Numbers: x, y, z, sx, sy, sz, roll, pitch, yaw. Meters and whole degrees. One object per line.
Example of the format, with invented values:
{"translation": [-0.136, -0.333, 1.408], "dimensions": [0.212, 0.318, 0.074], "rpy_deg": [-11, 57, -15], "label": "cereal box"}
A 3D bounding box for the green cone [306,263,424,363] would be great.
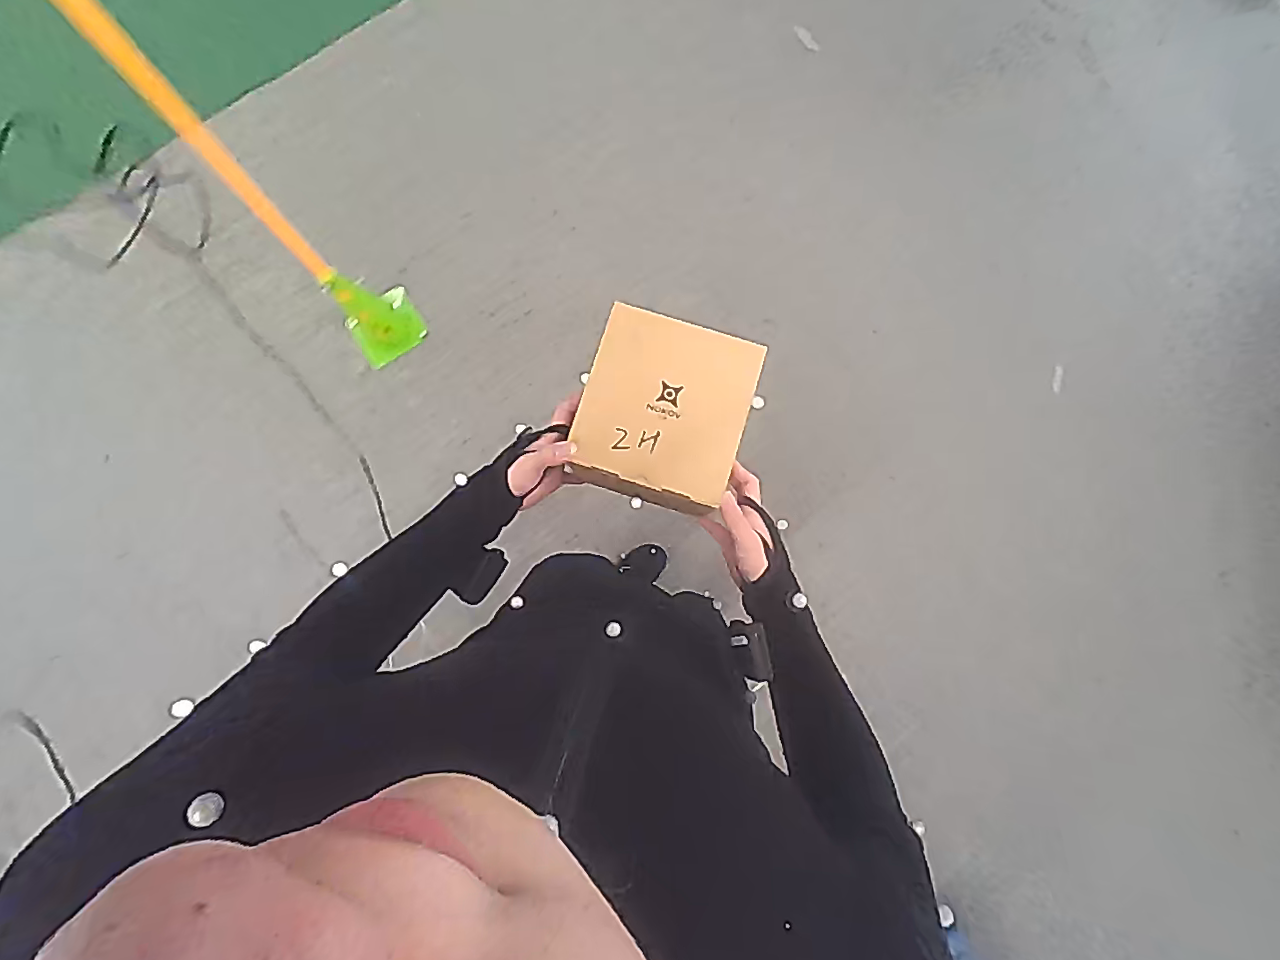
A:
{"translation": [-0.796, -0.505, 1.503], "dimensions": [0.202, 0.368, 0.200], "rpy_deg": [-33, 85, -3], "label": "green cone"}
